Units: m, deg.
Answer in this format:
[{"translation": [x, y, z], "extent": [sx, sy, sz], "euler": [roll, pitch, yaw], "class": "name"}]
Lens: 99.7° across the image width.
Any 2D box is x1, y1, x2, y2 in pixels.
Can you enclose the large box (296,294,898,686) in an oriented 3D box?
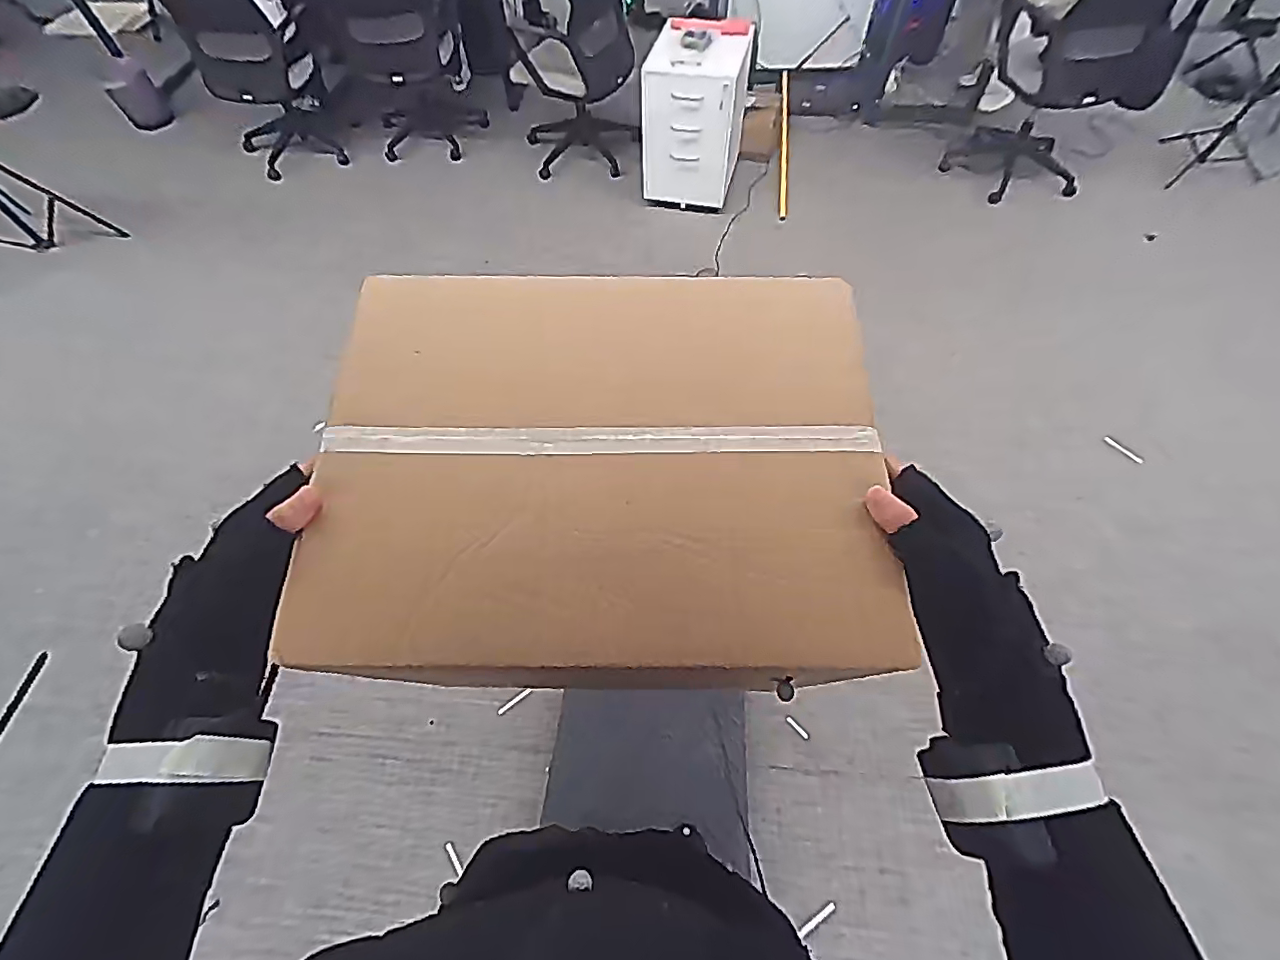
[{"translation": [-0.027, 0.040, 0.546], "extent": [0.408, 0.320, 0.320], "euler": [0, 66, 0], "class": "large box"}]
